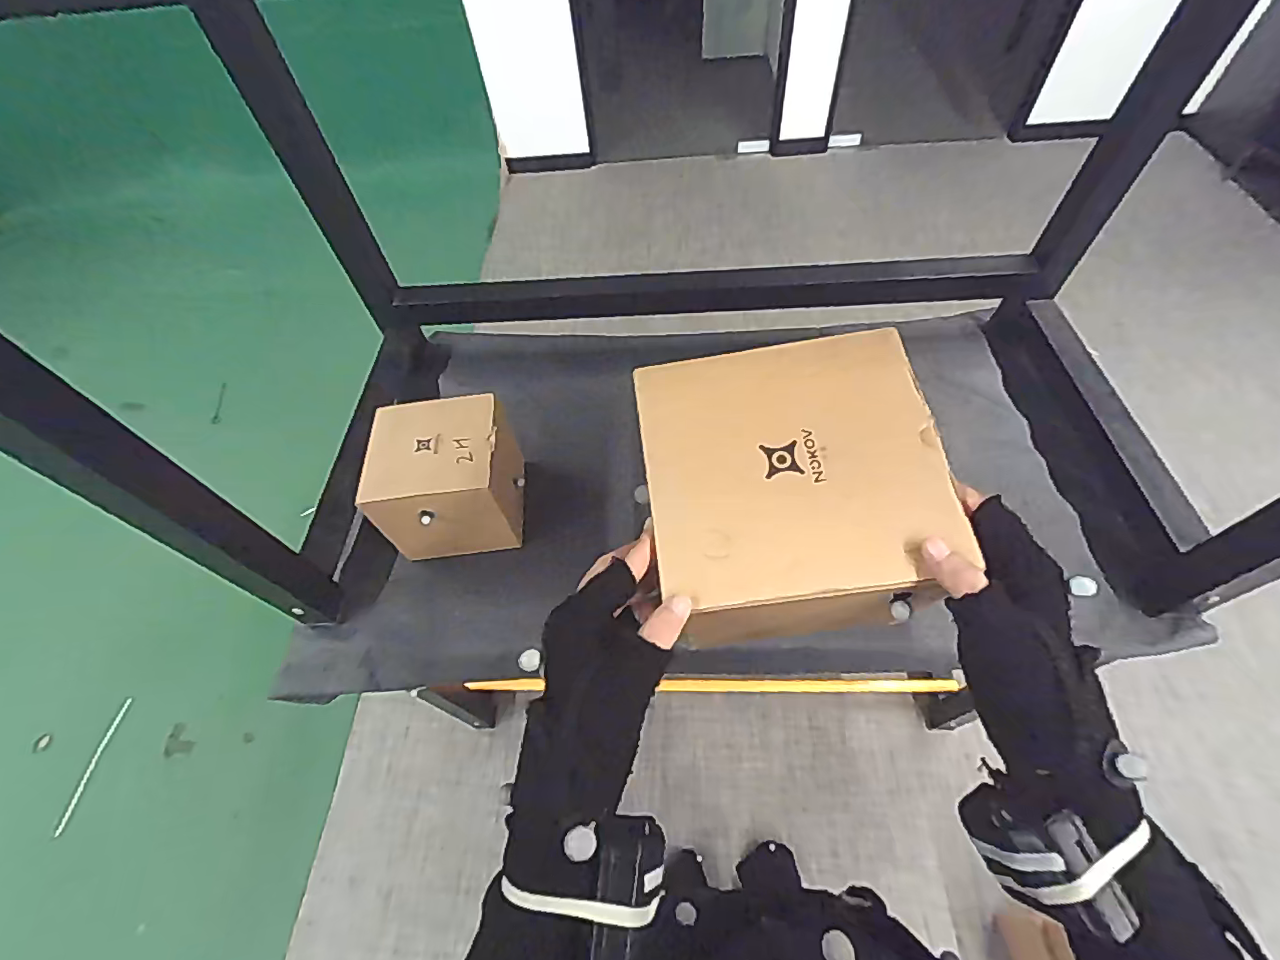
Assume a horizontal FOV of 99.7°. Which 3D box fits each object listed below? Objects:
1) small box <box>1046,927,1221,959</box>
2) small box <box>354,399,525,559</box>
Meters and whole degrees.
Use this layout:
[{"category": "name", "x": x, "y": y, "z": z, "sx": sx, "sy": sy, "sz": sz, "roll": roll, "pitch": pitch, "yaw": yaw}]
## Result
[{"category": "small box", "x": 0.786, "y": 0.813, "z": 0.835, "sx": 0.168, "sy": 0.176, "sz": 0.179, "roll": -3, "pitch": 54, "yaw": 3}, {"category": "small box", "x": -0.278, "y": 0.005, "z": 0.794, "sx": 0.179, "sy": 0.176, "sz": 0.168, "roll": -6, "pitch": 56, "yaw": 0}]
